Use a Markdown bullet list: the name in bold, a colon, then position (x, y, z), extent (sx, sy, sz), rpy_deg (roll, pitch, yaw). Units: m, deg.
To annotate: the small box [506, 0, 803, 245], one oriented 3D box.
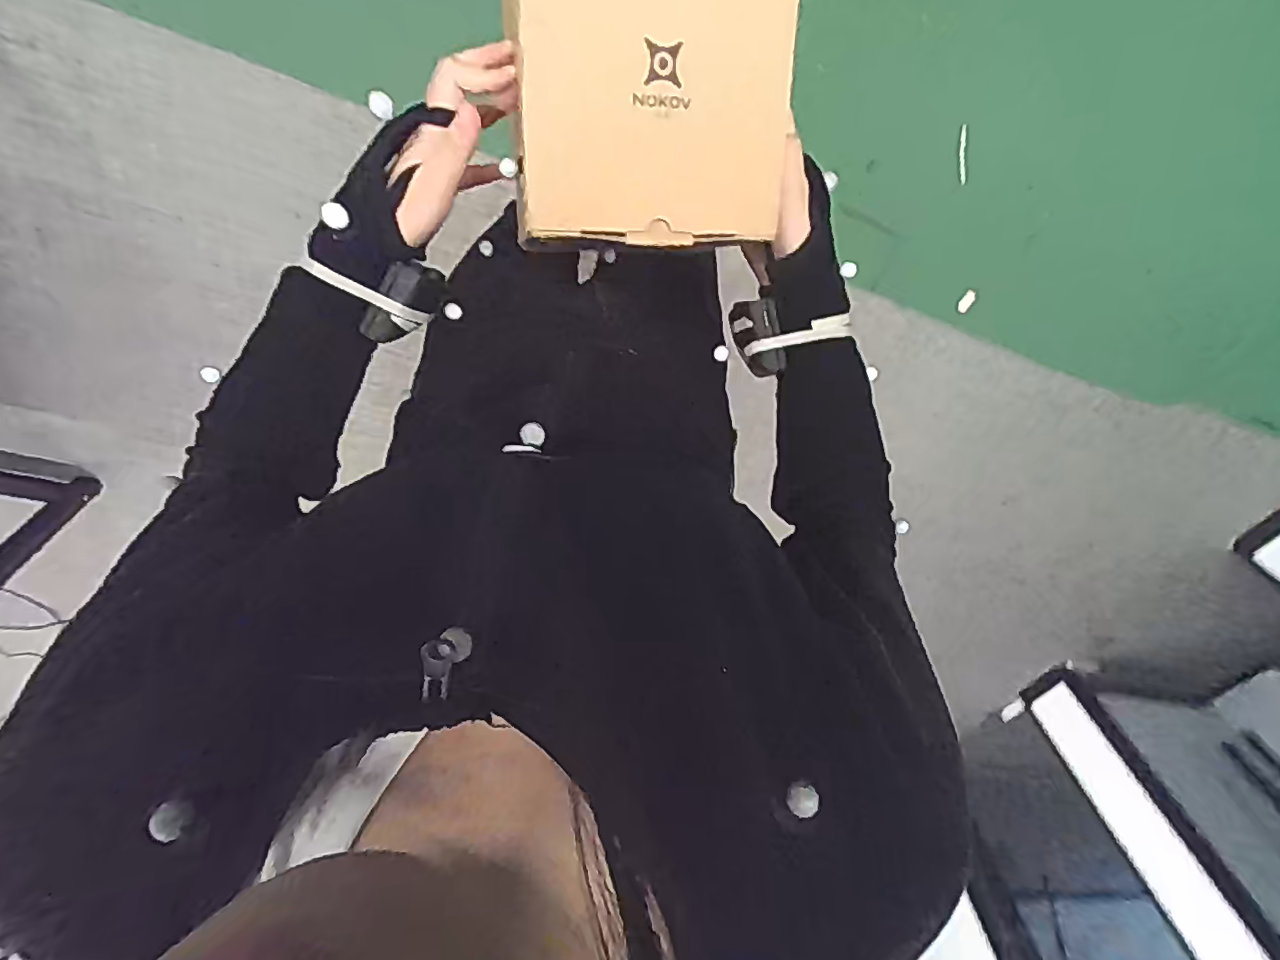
- **small box**: position (-0.004, -0.267, 0.382), extent (0.168, 0.176, 0.179), rpy_deg (-5, 112, -12)
